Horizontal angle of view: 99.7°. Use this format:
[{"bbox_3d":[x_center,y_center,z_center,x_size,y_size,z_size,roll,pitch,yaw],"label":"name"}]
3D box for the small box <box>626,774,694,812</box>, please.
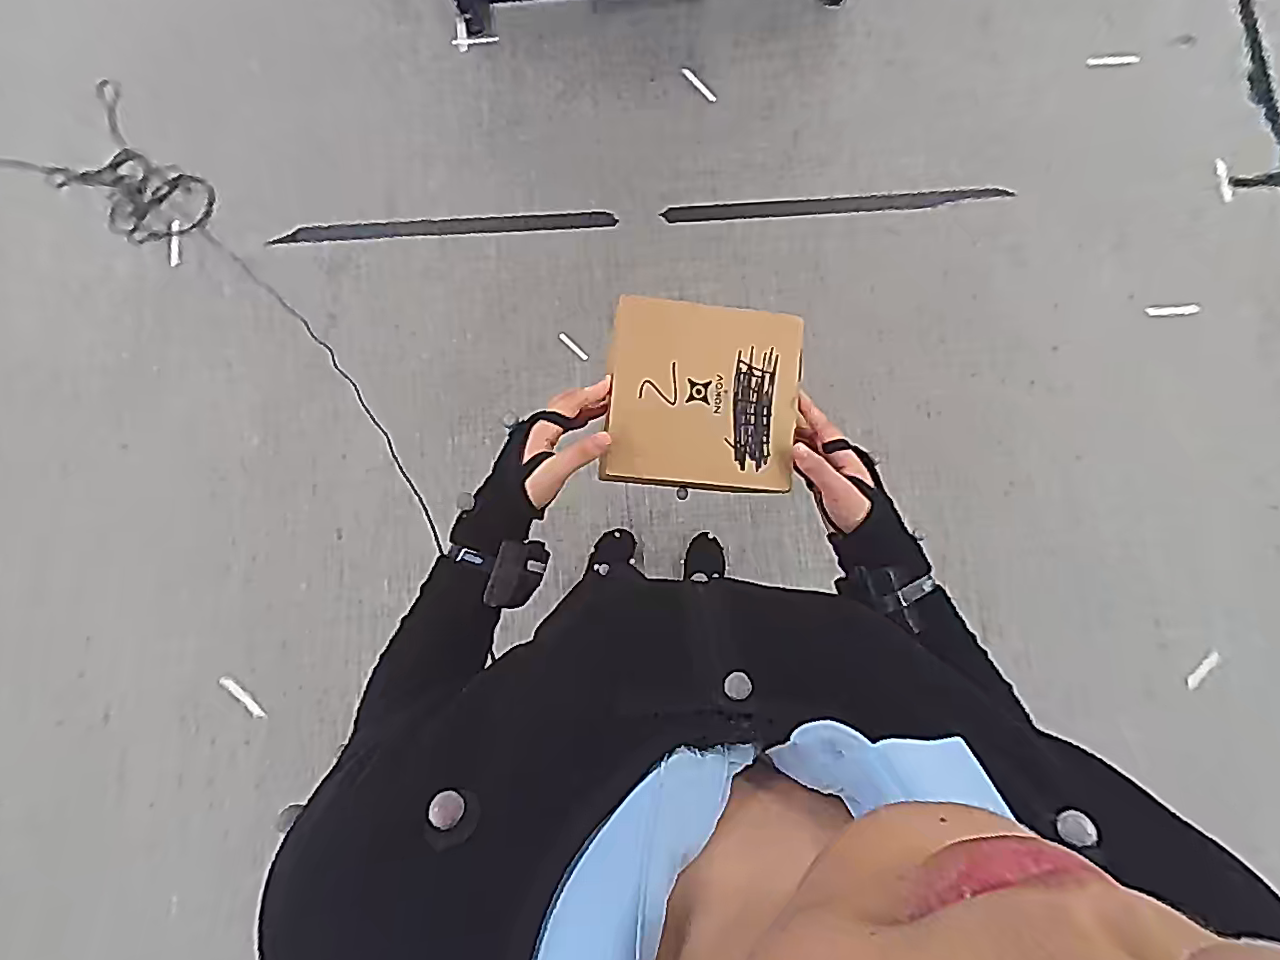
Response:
[{"bbox_3d":[0.048,0.856,1.350,0.168,0.176,0.179,-1,84,0],"label":"small box"}]
